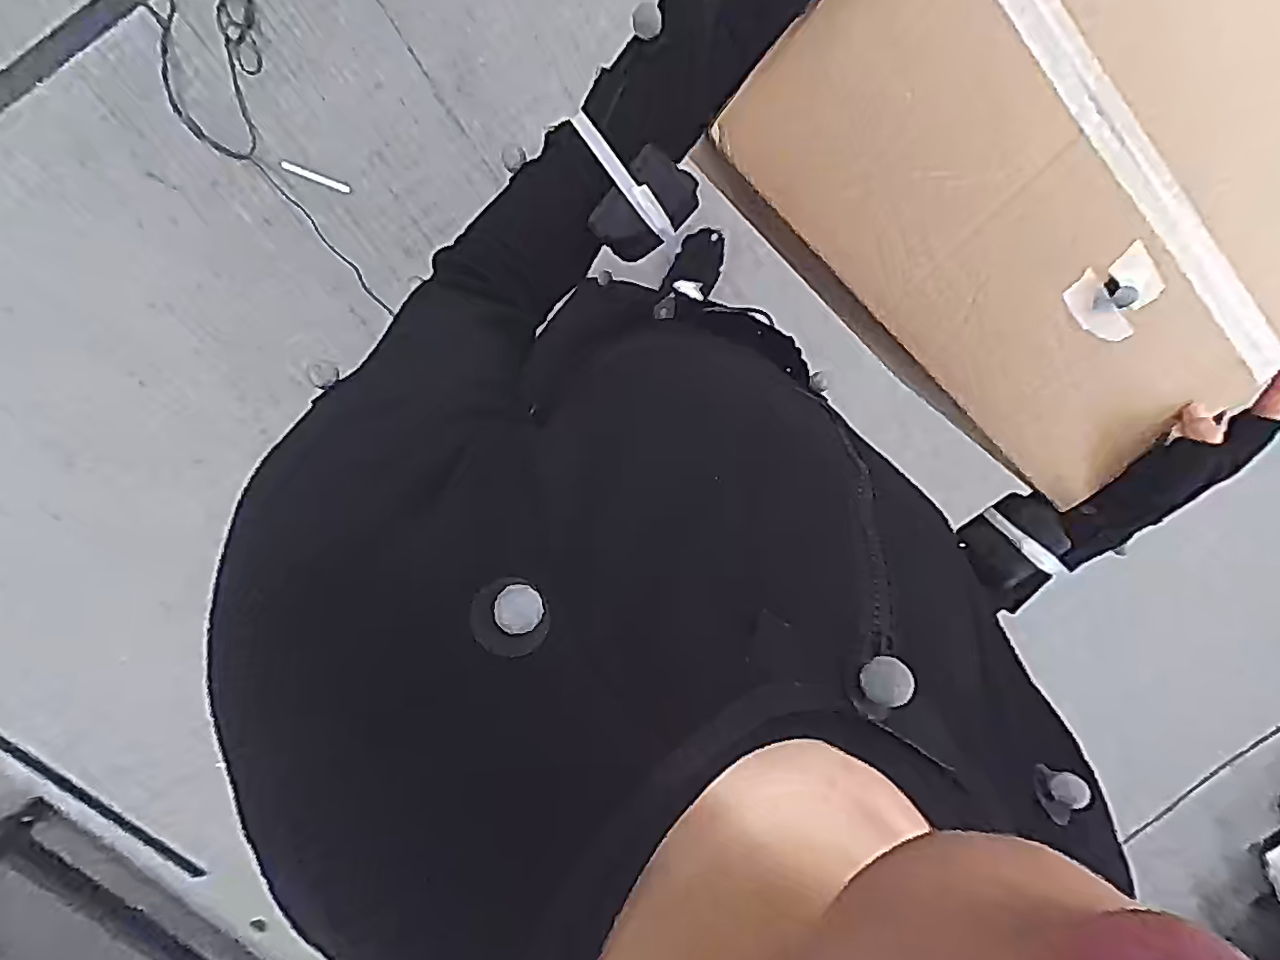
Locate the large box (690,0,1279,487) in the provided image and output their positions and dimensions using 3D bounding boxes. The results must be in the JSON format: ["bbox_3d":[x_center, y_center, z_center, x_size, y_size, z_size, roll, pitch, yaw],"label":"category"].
[{"bbox_3d":[0.296,-0.276,0.467,0.408,0.320,0.320,38,115,-18],"label":"large box"}]
